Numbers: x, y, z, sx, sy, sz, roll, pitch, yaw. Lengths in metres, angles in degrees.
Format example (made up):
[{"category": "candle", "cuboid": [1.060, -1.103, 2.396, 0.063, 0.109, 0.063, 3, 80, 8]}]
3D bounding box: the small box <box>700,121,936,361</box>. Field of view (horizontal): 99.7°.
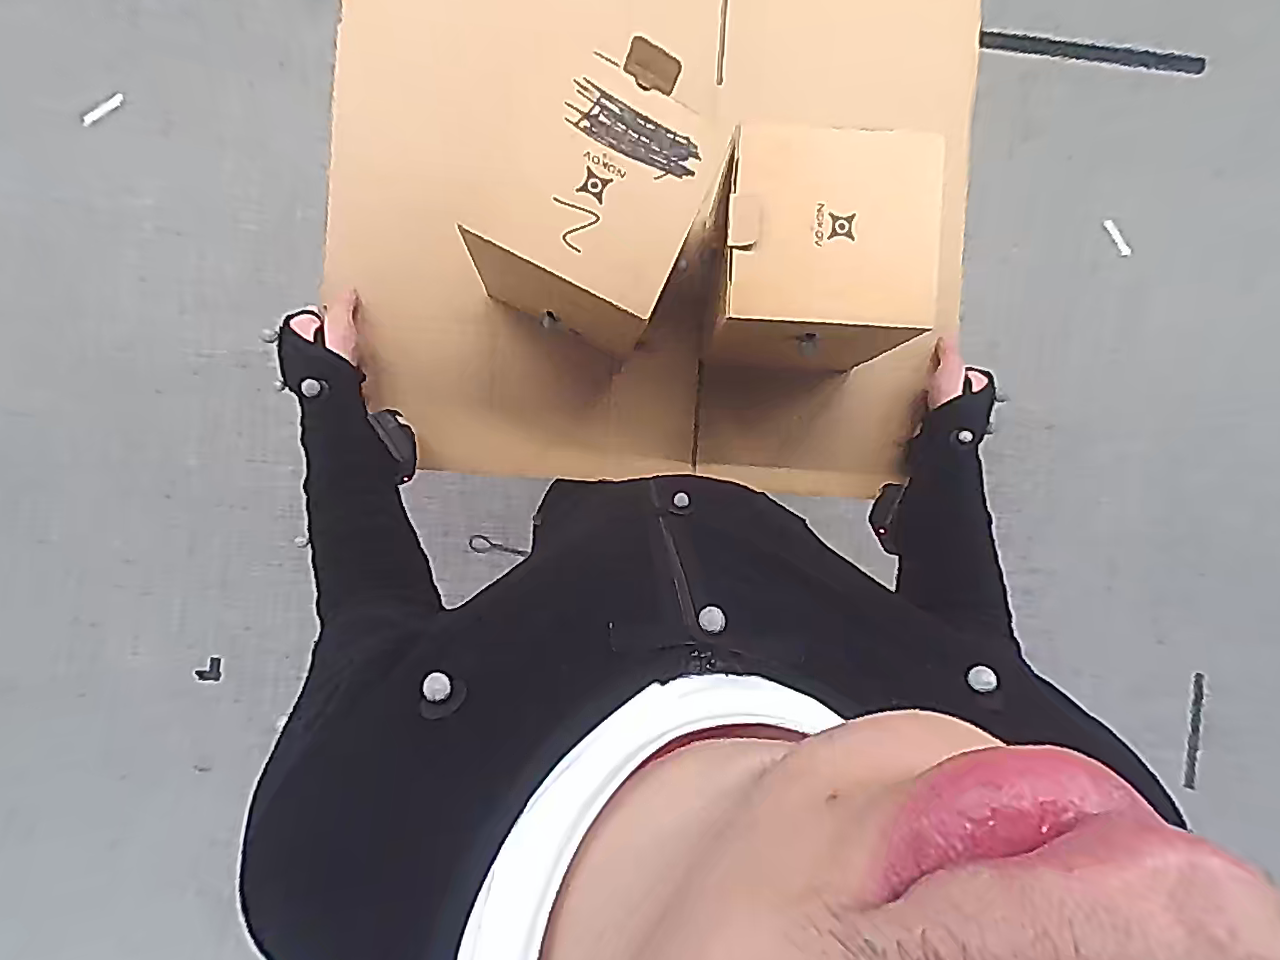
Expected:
[{"category": "small box", "cuboid": [0.161, -0.220, 0.542, 0.179, 0.176, 0.168, 3, 90, -1]}]
